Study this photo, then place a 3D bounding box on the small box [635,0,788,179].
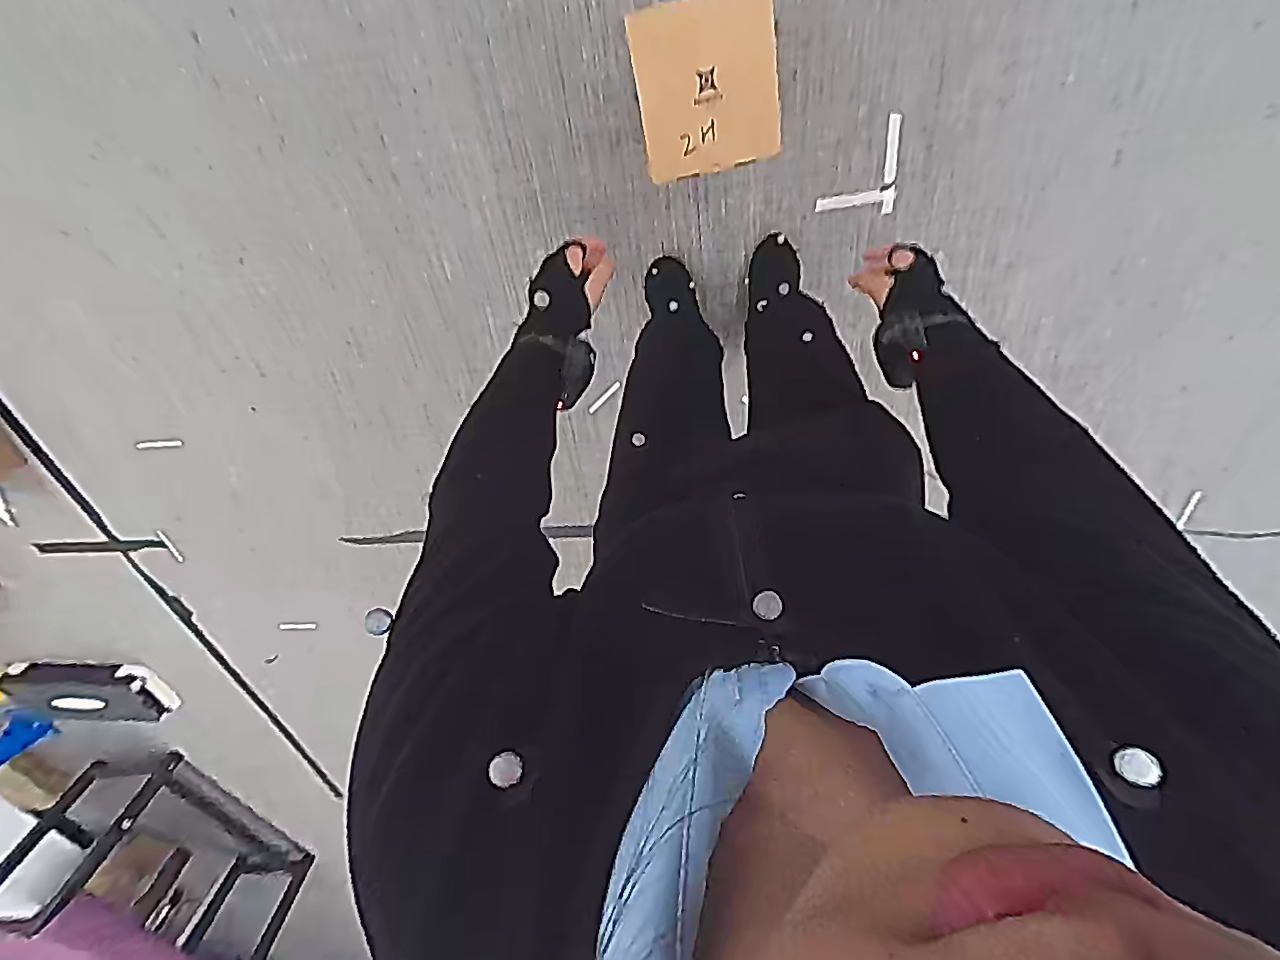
[{"bbox_3d":[0.094,-0.512,0.703,0.168,0.176,0.179,-7,124,11],"label":"small box"}]
